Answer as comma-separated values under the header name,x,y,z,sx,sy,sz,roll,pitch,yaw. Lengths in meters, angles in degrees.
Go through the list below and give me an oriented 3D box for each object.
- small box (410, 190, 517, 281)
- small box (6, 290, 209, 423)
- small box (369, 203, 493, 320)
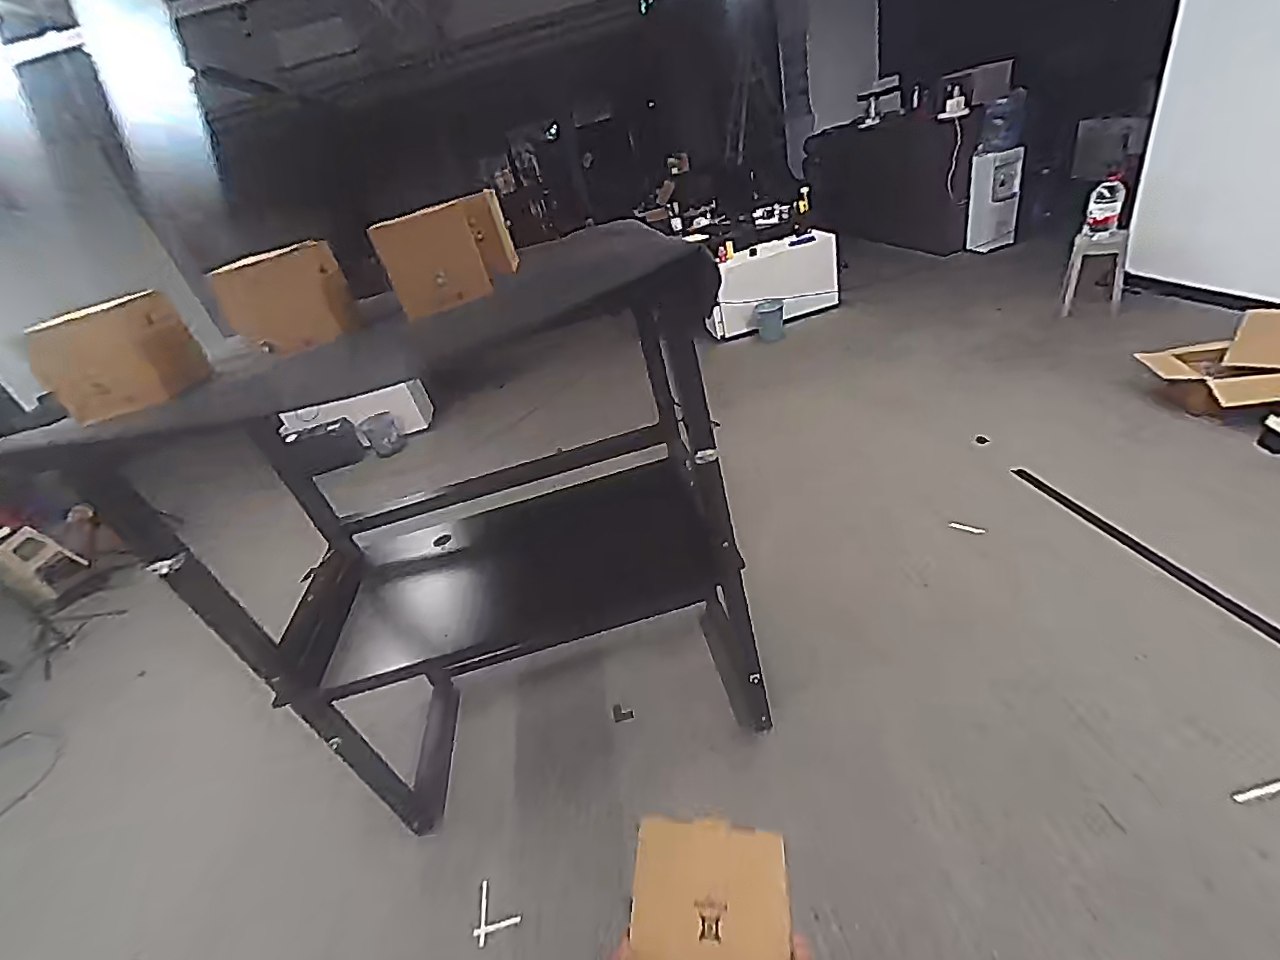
name,x,y,z,sx,sy,sz,roll,pitch,yaw
small box,-0.393,-0.546,1.239,0.179,0.176,0.168,-15,31,1
small box,-0.940,-0.226,0.982,0.168,0.176,0.179,-18,33,-4
small box,-0.399,-0.427,1.055,0.168,0.176,0.179,-21,32,-8
